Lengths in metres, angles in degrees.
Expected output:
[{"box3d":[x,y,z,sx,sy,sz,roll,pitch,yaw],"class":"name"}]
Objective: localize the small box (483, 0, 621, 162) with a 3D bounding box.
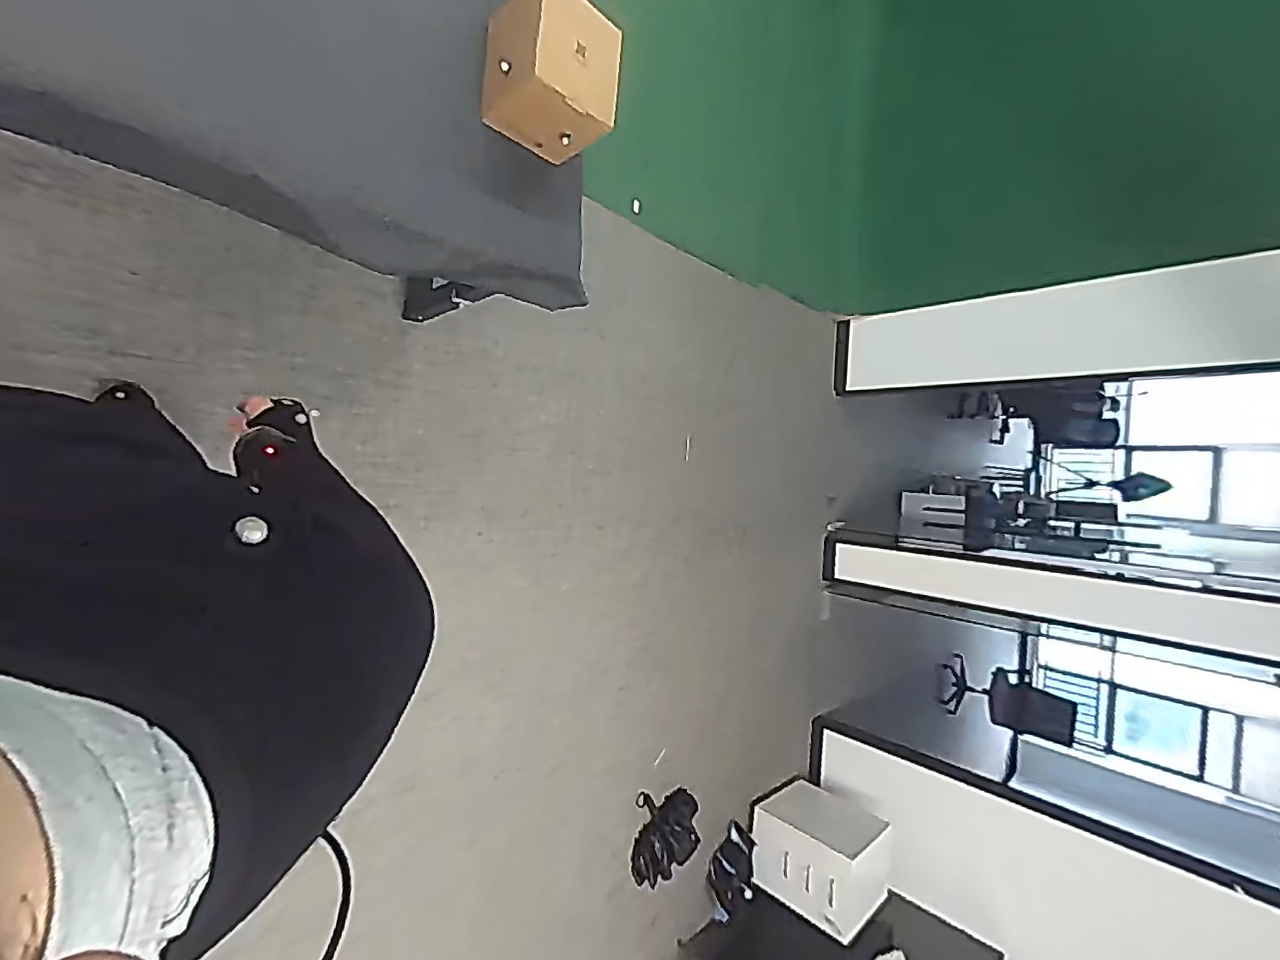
[{"box3d":[-0.153,-0.687,0.923,0.168,0.176,0.179,5,88,-46],"class":"small box"}]
